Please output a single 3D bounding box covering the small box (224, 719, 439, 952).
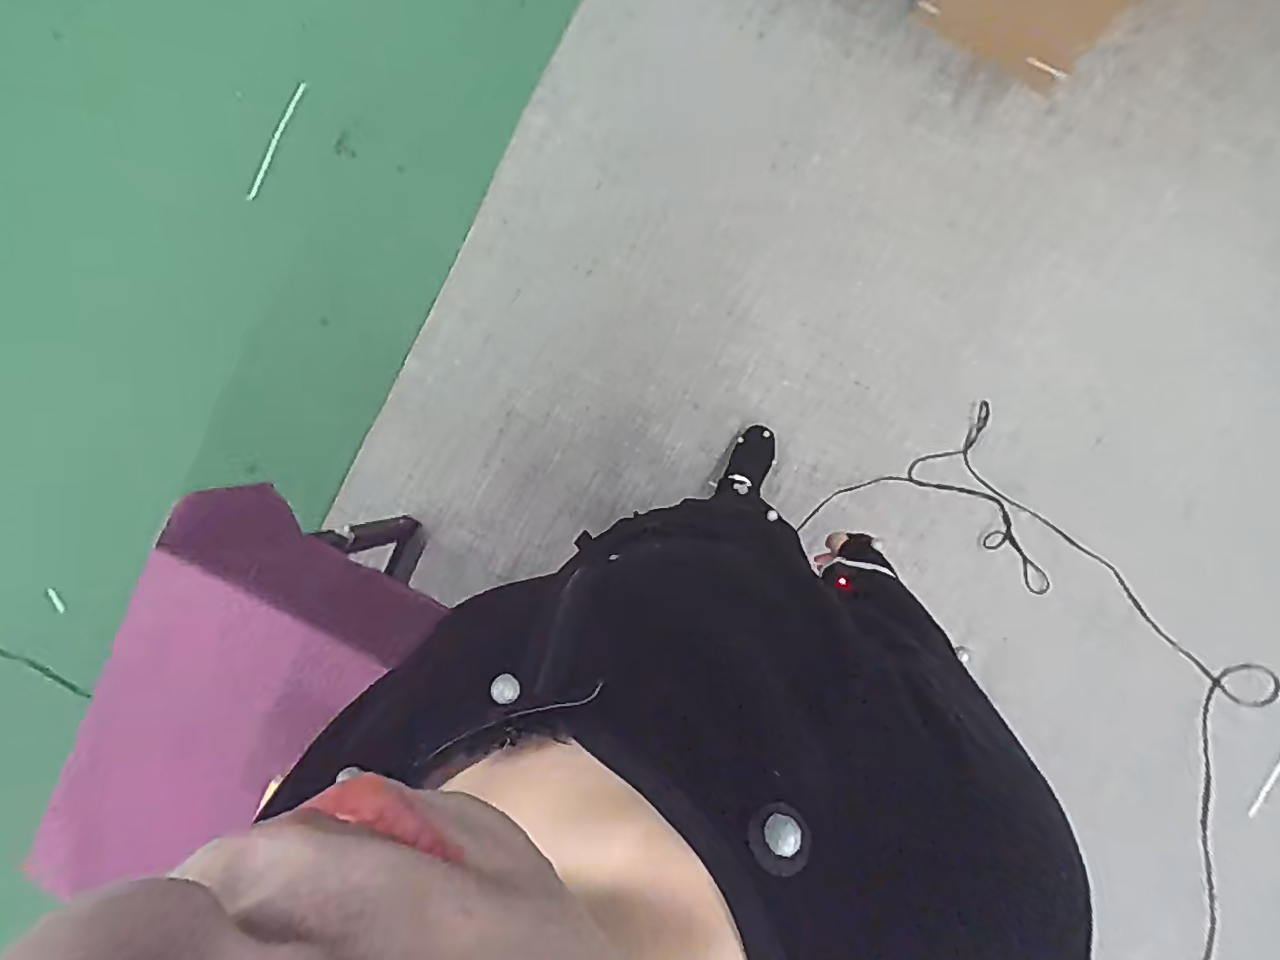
[{"bbox_3d":[-0.407,0.470,0.747,0.168,0.176,0.179,26,94,4],"label":"small box"}]
